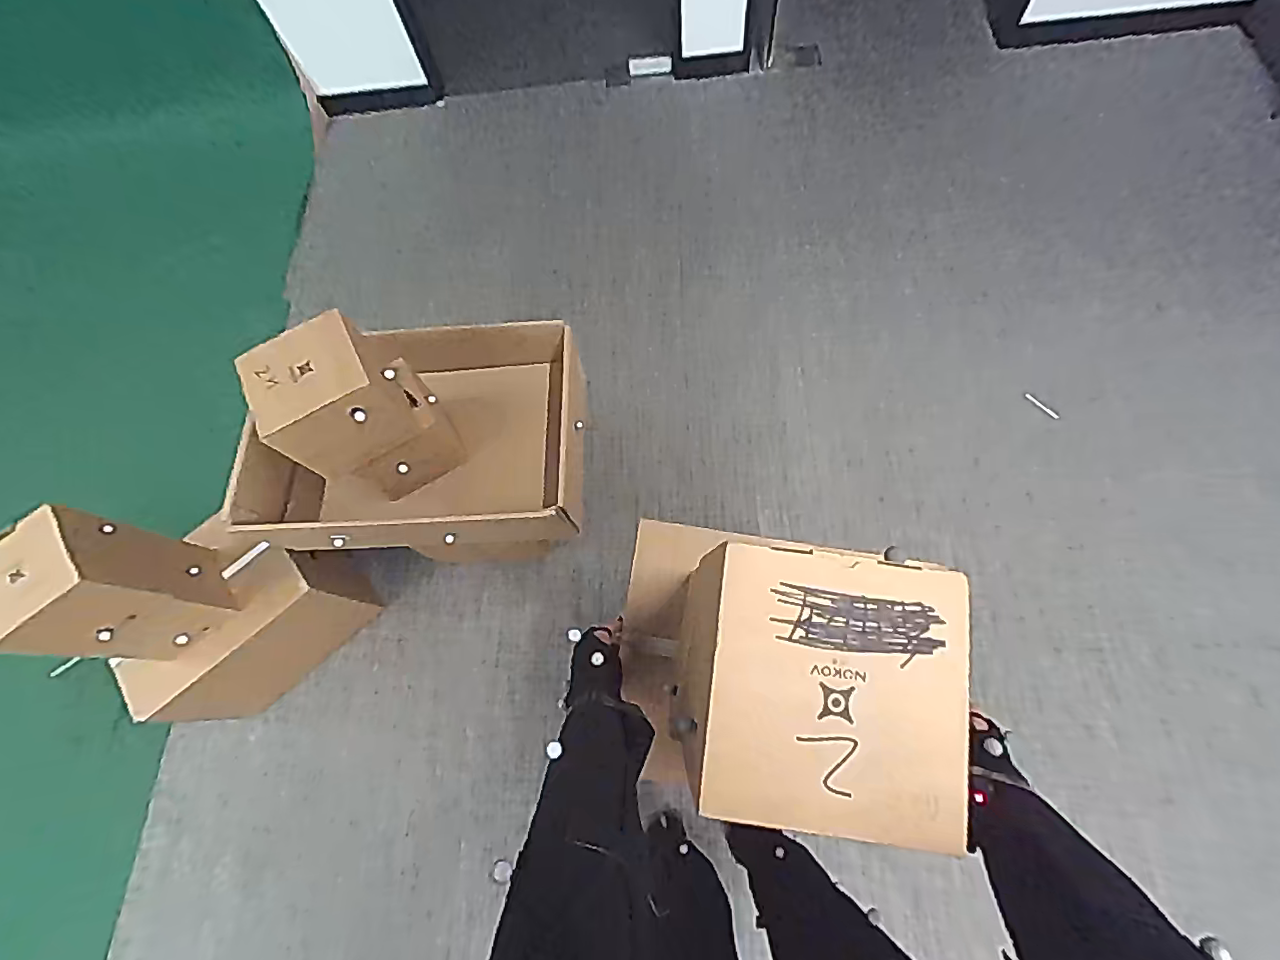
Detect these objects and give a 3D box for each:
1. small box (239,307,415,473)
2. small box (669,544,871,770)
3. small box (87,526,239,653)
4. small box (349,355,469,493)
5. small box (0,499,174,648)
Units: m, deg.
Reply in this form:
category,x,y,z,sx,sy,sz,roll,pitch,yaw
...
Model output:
category,x,y,z,sx,sy,sz,roll,pitch,yaw
small box,-0.496,-0.140,0.886,0.179,0.176,0.168,-30,69,-5
small box,0.128,0.181,0.590,0.168,0.176,0.179,13,78,4
small box,-0.958,0.225,1.077,0.168,0.176,0.179,-37,71,-9
small box,-0.463,-0.099,1.044,0.179,0.176,0.168,-31,71,-6
small box,-0.965,0.168,0.924,0.168,0.176,0.179,-40,71,-9
